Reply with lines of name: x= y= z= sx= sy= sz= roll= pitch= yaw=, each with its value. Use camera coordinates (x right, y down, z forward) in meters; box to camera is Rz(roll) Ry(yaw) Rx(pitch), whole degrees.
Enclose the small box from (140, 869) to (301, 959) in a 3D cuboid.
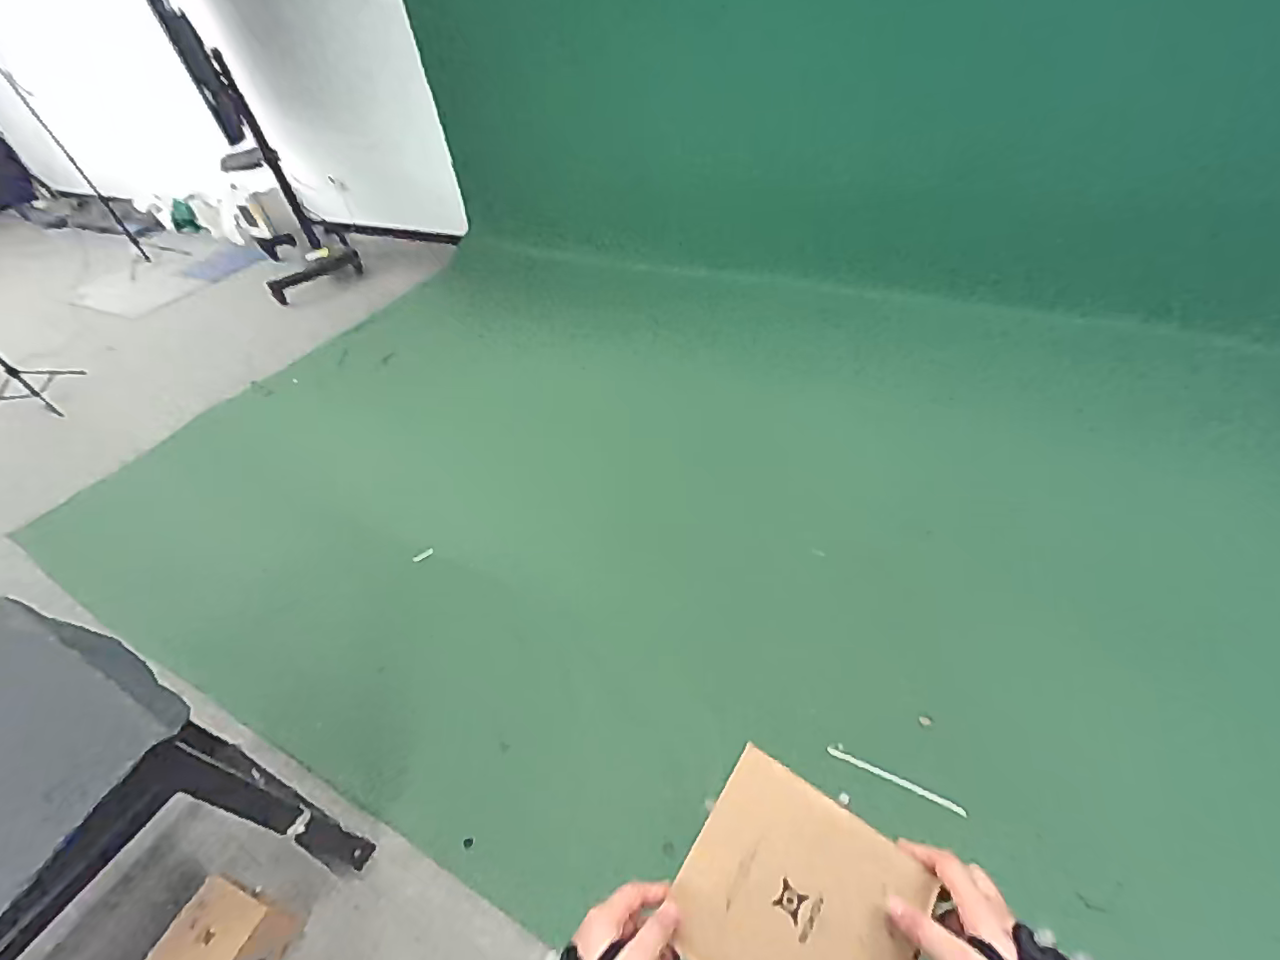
small box: x=-0.871 y=0.967 z=1.144 sx=0.179 sy=0.176 sz=0.168 roll=13 pitch=48 yaw=20
